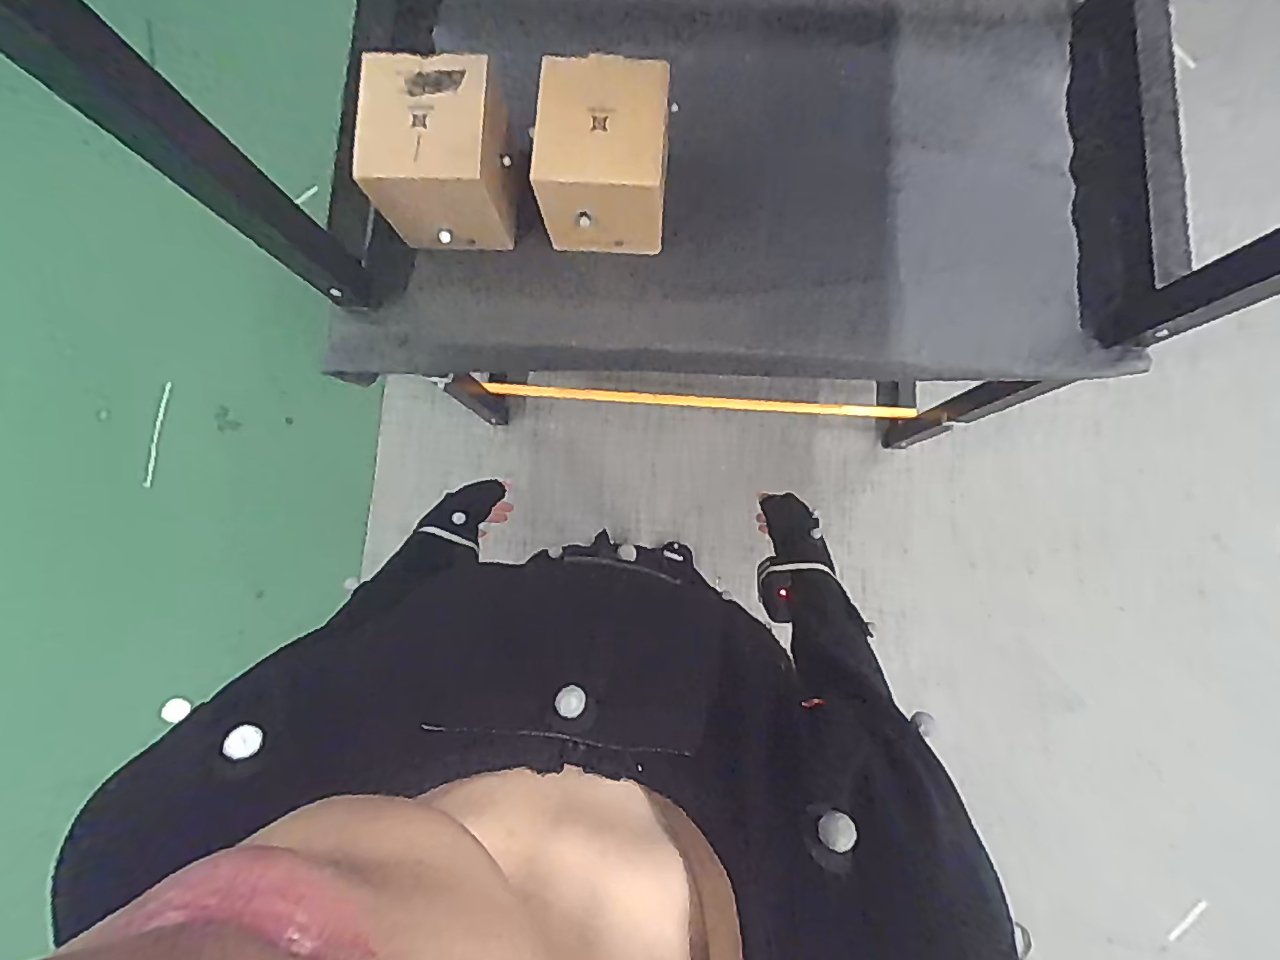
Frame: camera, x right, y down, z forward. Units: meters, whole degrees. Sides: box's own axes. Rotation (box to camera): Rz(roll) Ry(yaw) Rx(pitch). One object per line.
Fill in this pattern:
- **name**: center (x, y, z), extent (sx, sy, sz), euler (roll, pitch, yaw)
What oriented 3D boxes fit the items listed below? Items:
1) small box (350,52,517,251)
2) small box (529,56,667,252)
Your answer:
- **small box**: center (-0.275, -0.451, 0.762), extent (0.168, 0.176, 0.179), euler (1, 83, 2)
- **small box**: center (-0.049, -0.443, 0.757), extent (0.168, 0.176, 0.179), euler (4, 82, 2)
